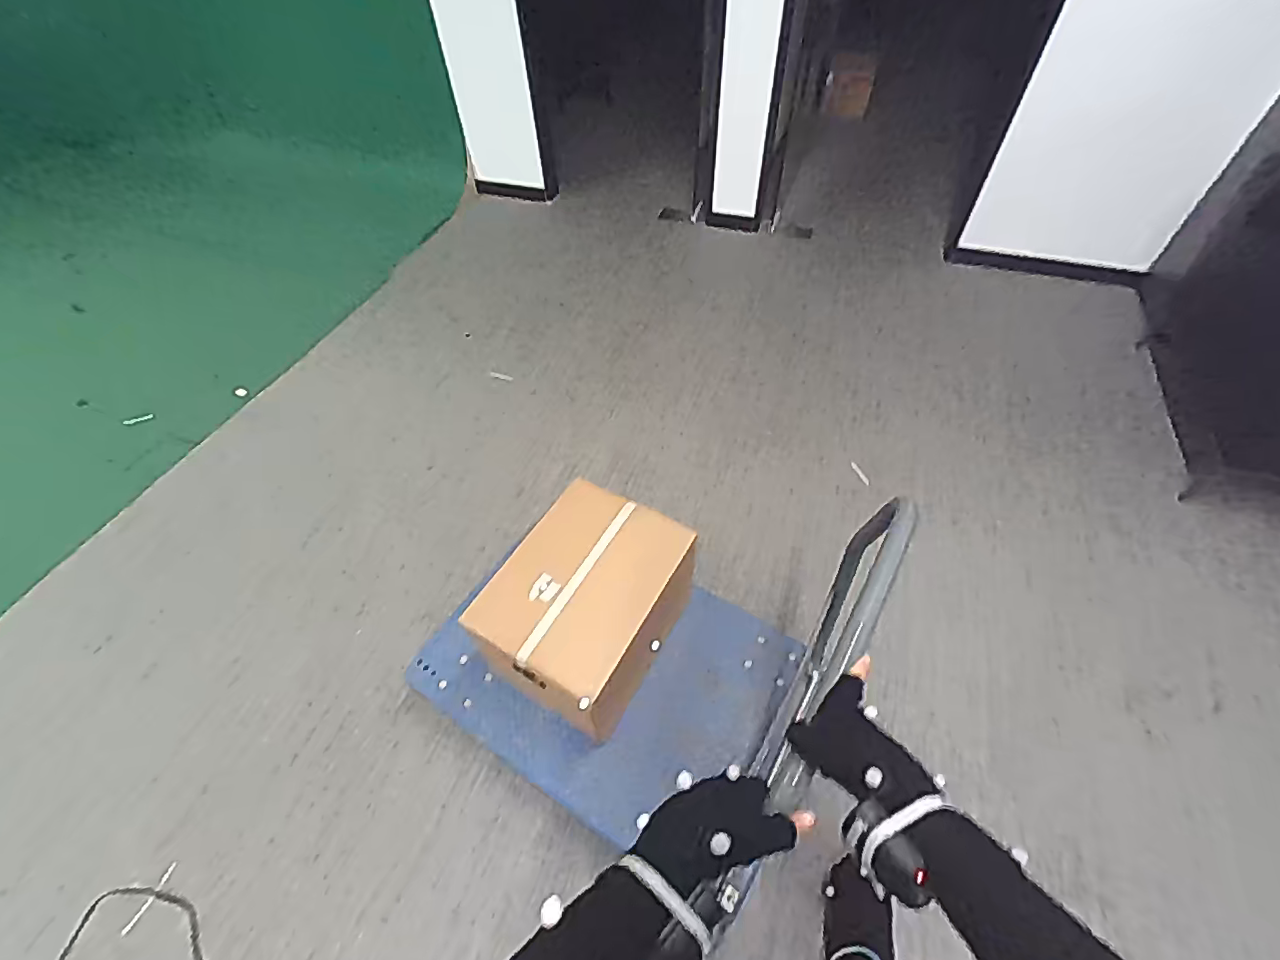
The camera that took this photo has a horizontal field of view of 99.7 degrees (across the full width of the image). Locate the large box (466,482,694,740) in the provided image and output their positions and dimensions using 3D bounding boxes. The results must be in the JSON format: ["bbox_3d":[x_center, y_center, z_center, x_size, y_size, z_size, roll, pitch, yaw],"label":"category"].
[{"bbox_3d":[-0.105,0.287,1.209,0.320,0.320,0.408,24,57,20],"label":"large box"}]
